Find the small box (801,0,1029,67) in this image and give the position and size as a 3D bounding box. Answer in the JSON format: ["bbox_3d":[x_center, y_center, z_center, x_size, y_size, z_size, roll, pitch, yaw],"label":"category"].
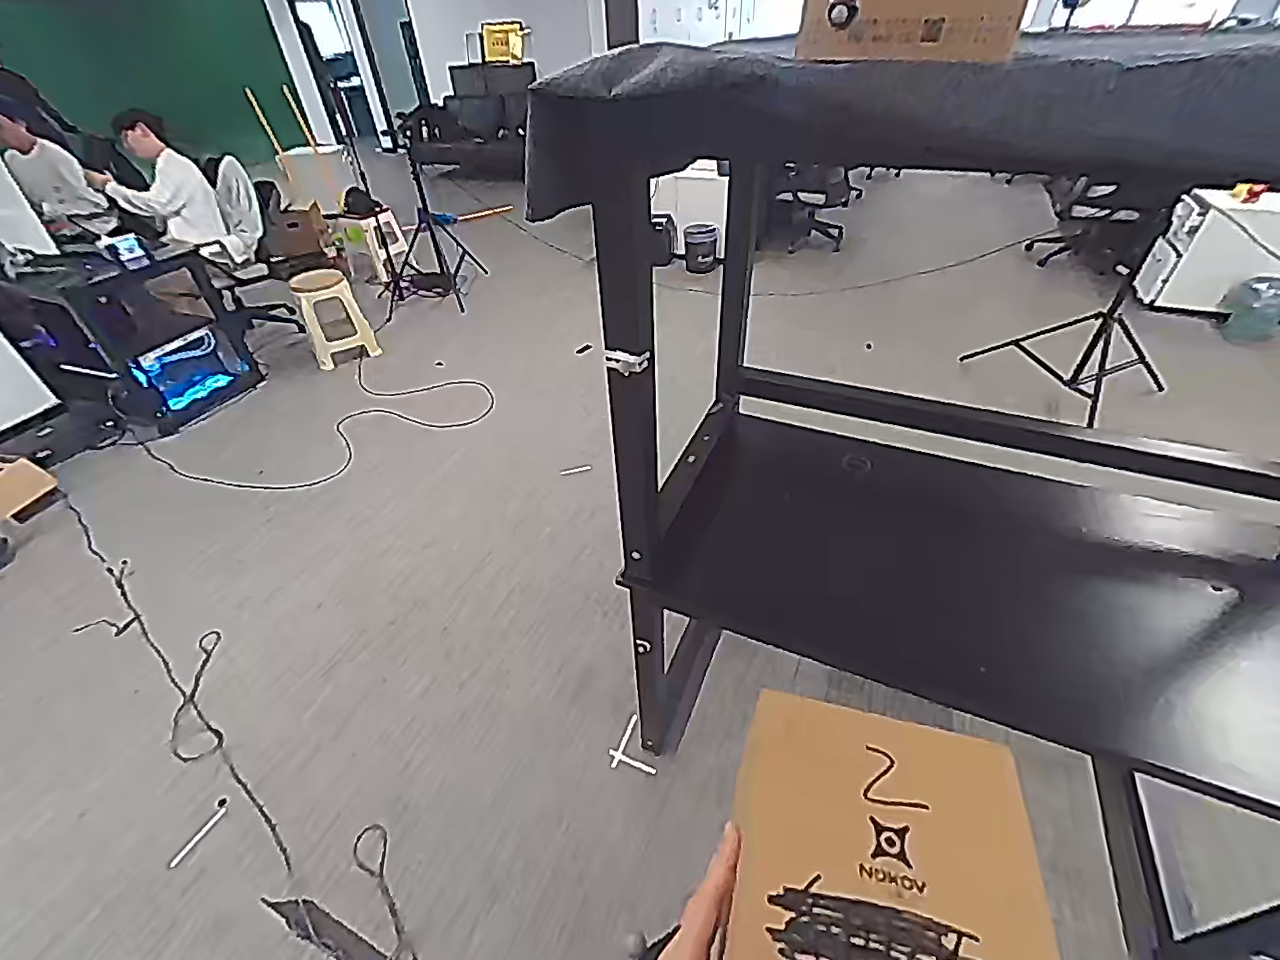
[{"bbox_3d":[0.238,-0.449,0.447,0.168,0.176,0.179,14,41,17],"label":"small box"}]
